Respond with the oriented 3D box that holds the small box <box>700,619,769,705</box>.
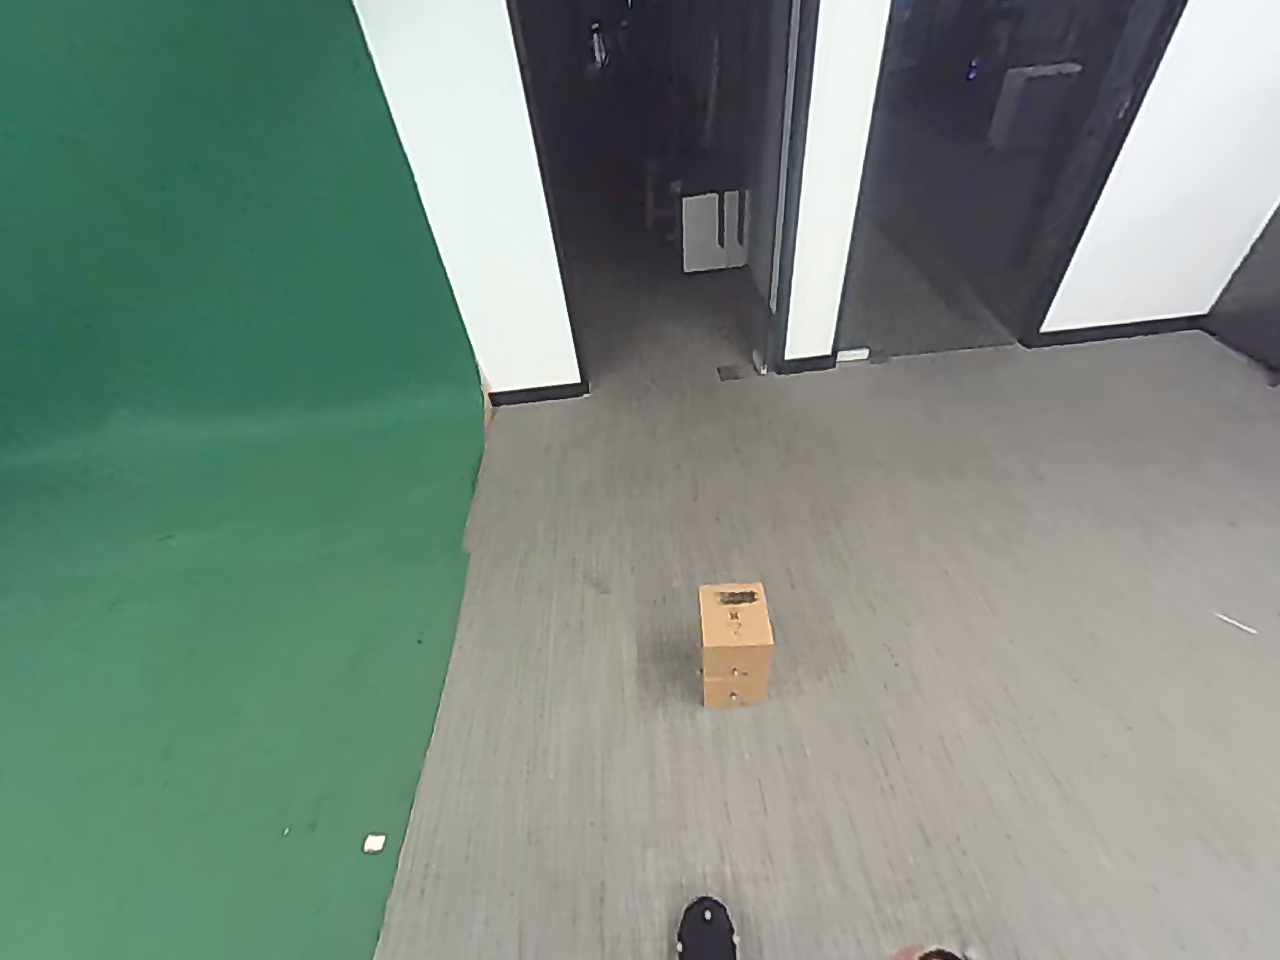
[{"bbox_3d":[0.257,0.508,1.492,0.168,0.176,0.179,-4,44,3],"label":"small box"}]
